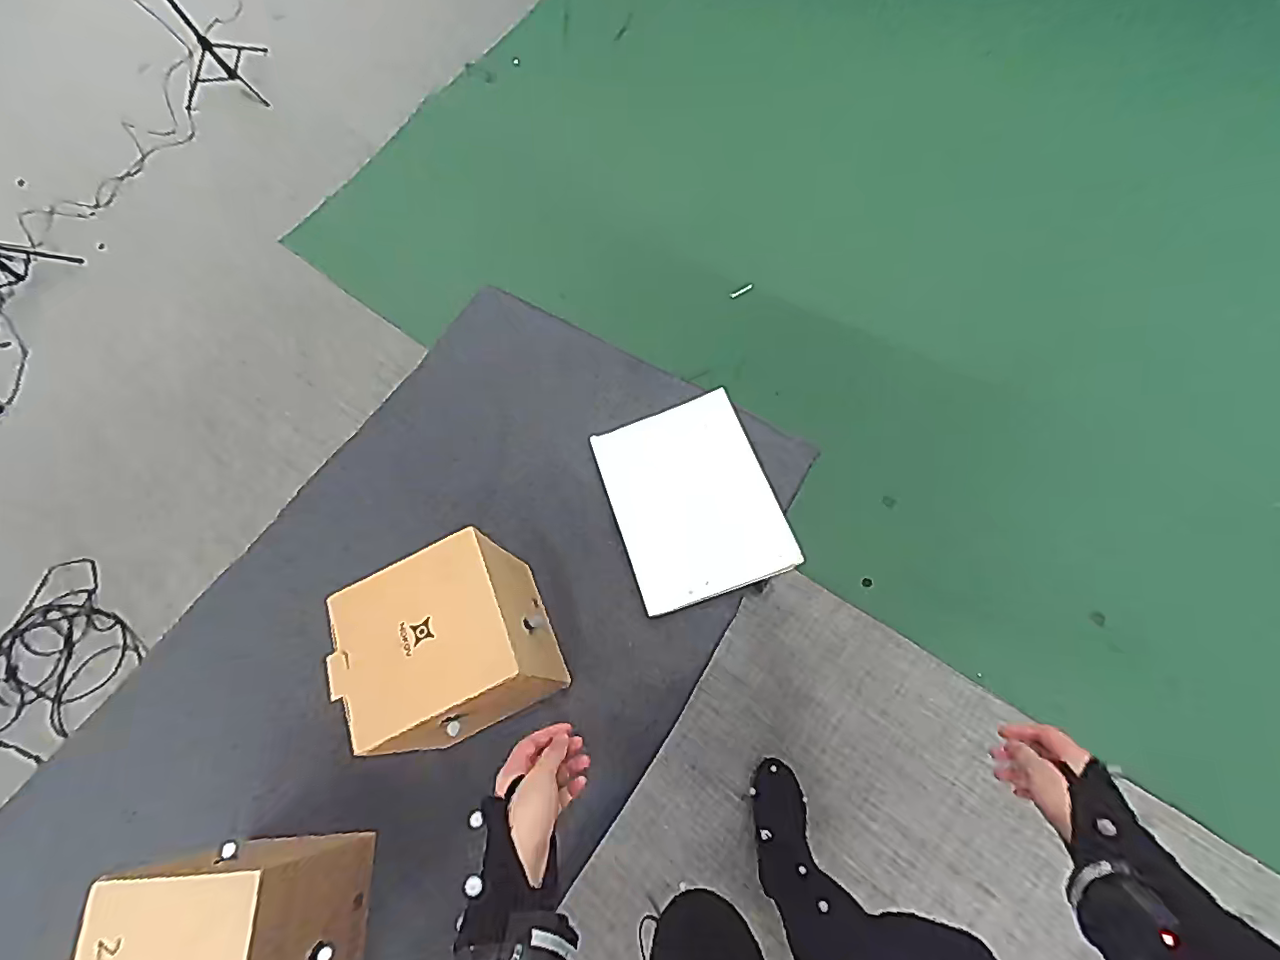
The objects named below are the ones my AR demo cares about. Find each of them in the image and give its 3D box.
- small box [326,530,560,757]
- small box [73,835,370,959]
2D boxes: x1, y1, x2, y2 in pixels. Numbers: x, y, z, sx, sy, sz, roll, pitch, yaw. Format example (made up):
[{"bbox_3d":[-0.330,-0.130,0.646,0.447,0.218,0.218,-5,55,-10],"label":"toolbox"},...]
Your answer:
[{"bbox_3d":[-0.204,0.182,0.605,0.179,0.176,0.168,-27,65,0],"label":"small box"},{"bbox_3d":[-0.394,0.459,0.524,0.179,0.176,0.168,-8,66,7],"label":"small box"}]
